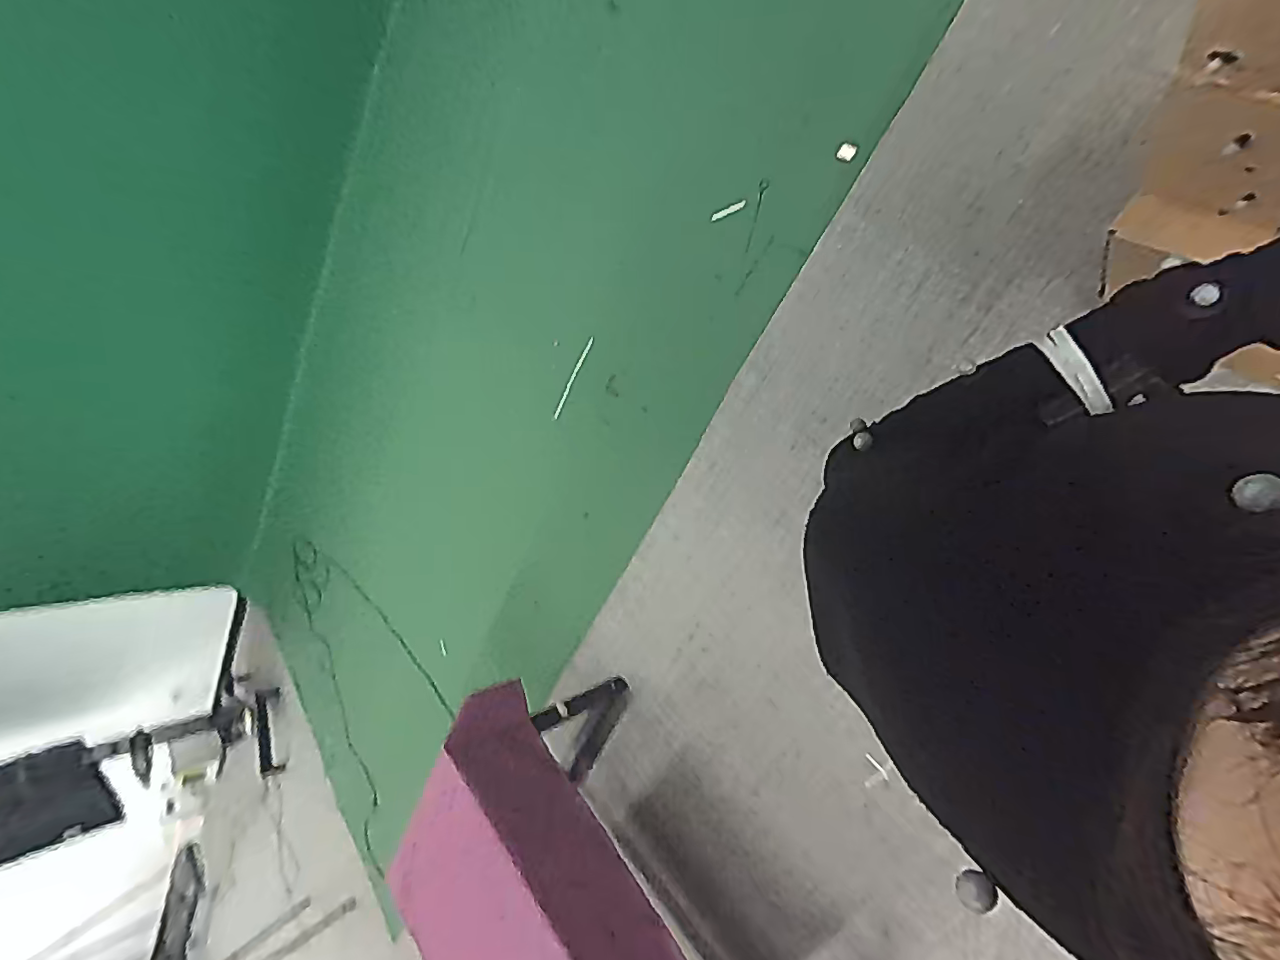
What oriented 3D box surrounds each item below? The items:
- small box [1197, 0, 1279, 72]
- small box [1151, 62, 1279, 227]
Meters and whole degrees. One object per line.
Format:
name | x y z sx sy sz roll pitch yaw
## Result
small box | 0.574 -0.429 0.397 0.168 0.176 0.179 41 114 28
small box | 0.776 -0.440 0.656 0.168 0.176 0.179 43 116 28
